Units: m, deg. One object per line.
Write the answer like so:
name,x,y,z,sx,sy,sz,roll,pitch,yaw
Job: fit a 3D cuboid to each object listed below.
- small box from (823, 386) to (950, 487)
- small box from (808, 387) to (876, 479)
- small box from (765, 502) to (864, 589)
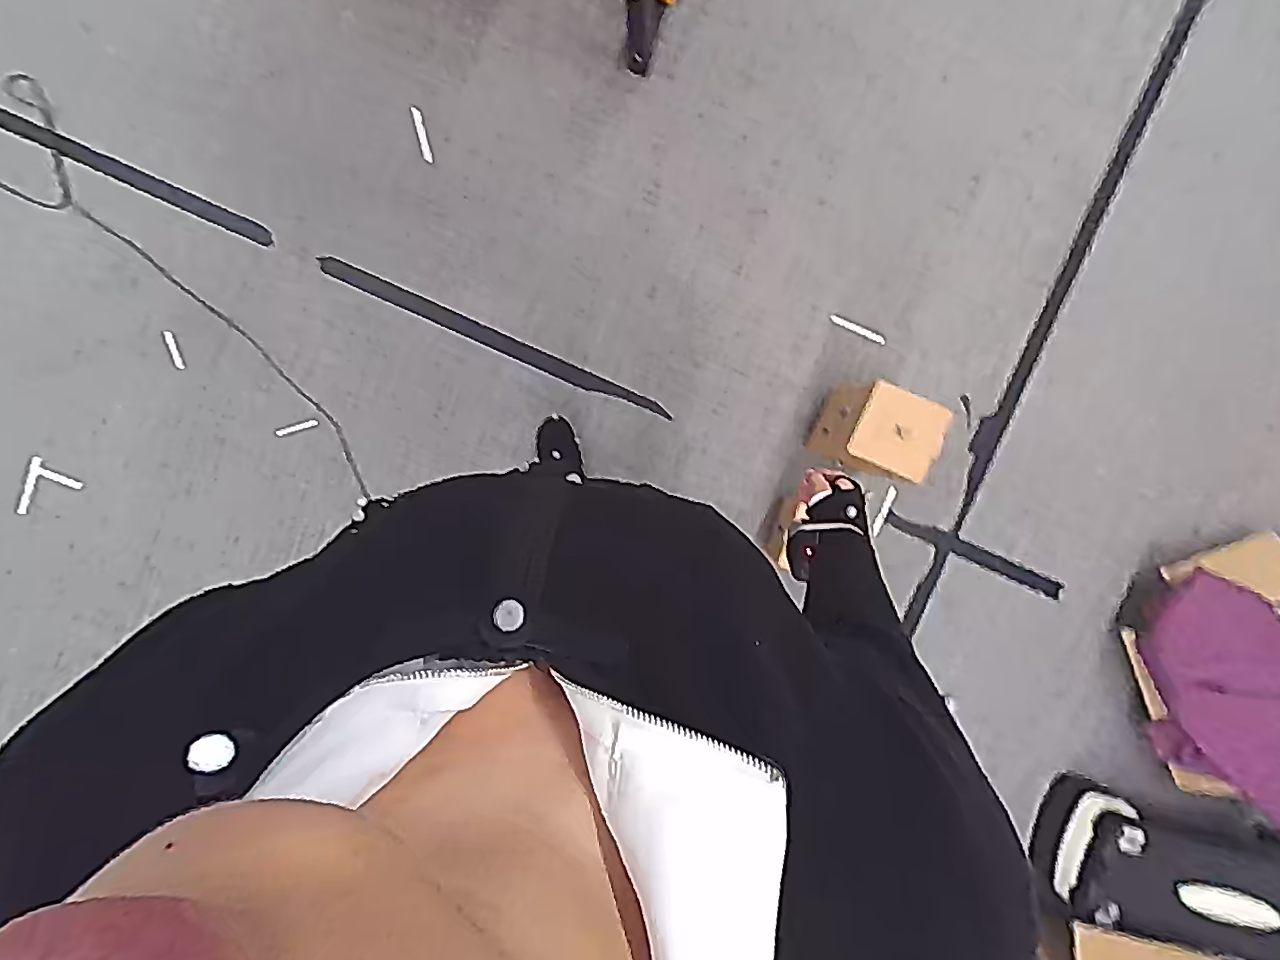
small box,0.546,-0.098,1.222,0.179,0.176,0.168,24,93,1
small box,0.549,-0.117,1.384,0.168,0.176,0.179,25,94,0
small box,0.443,0.161,1.407,0.179,0.176,0.168,20,94,1
